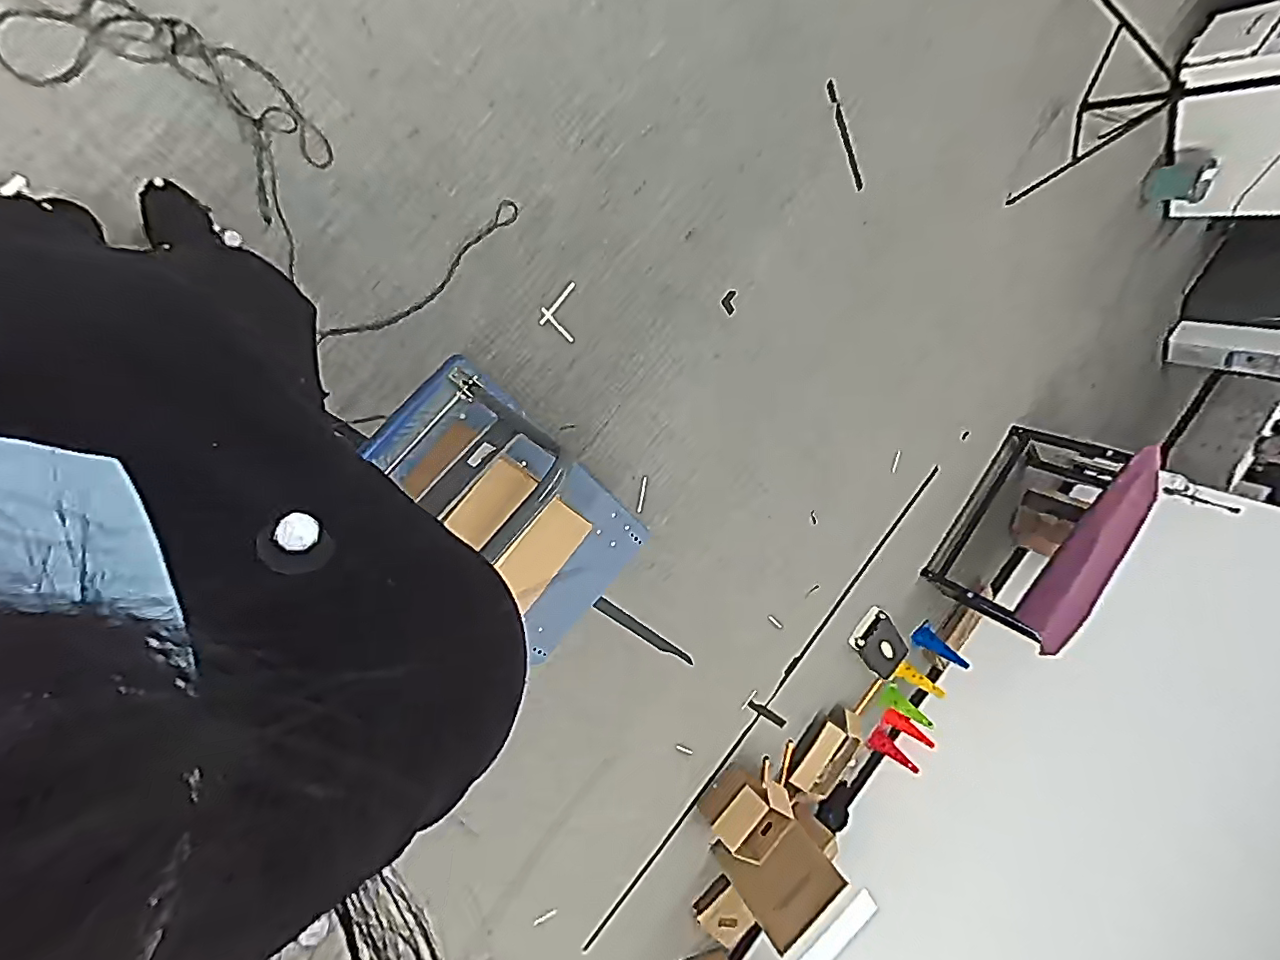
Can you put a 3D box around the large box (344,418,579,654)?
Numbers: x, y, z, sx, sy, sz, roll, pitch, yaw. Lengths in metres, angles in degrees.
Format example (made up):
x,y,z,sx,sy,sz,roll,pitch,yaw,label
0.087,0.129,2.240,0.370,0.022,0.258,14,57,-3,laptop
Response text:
x,y,z,sx,sy,sz,roll,pitch,yaw,label
-0.428,0.126,1.296,0.408,0.320,0.320,-52,130,-4,large box
